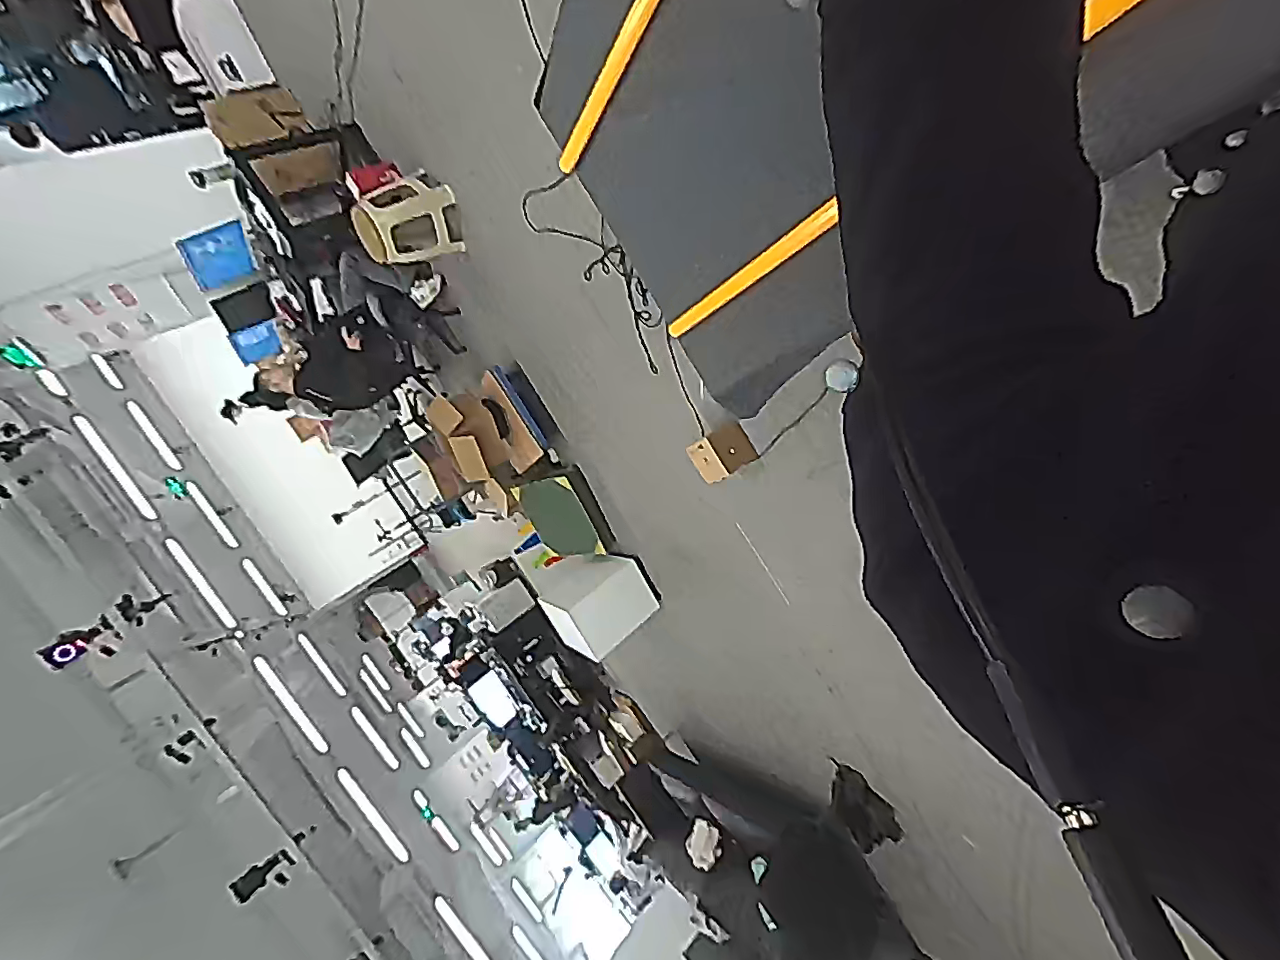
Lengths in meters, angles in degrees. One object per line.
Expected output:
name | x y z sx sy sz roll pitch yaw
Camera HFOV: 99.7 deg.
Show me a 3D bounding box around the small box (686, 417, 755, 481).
small box | 0.325 -0.122 2.155 0.179 0.176 0.168 57 152 -3
